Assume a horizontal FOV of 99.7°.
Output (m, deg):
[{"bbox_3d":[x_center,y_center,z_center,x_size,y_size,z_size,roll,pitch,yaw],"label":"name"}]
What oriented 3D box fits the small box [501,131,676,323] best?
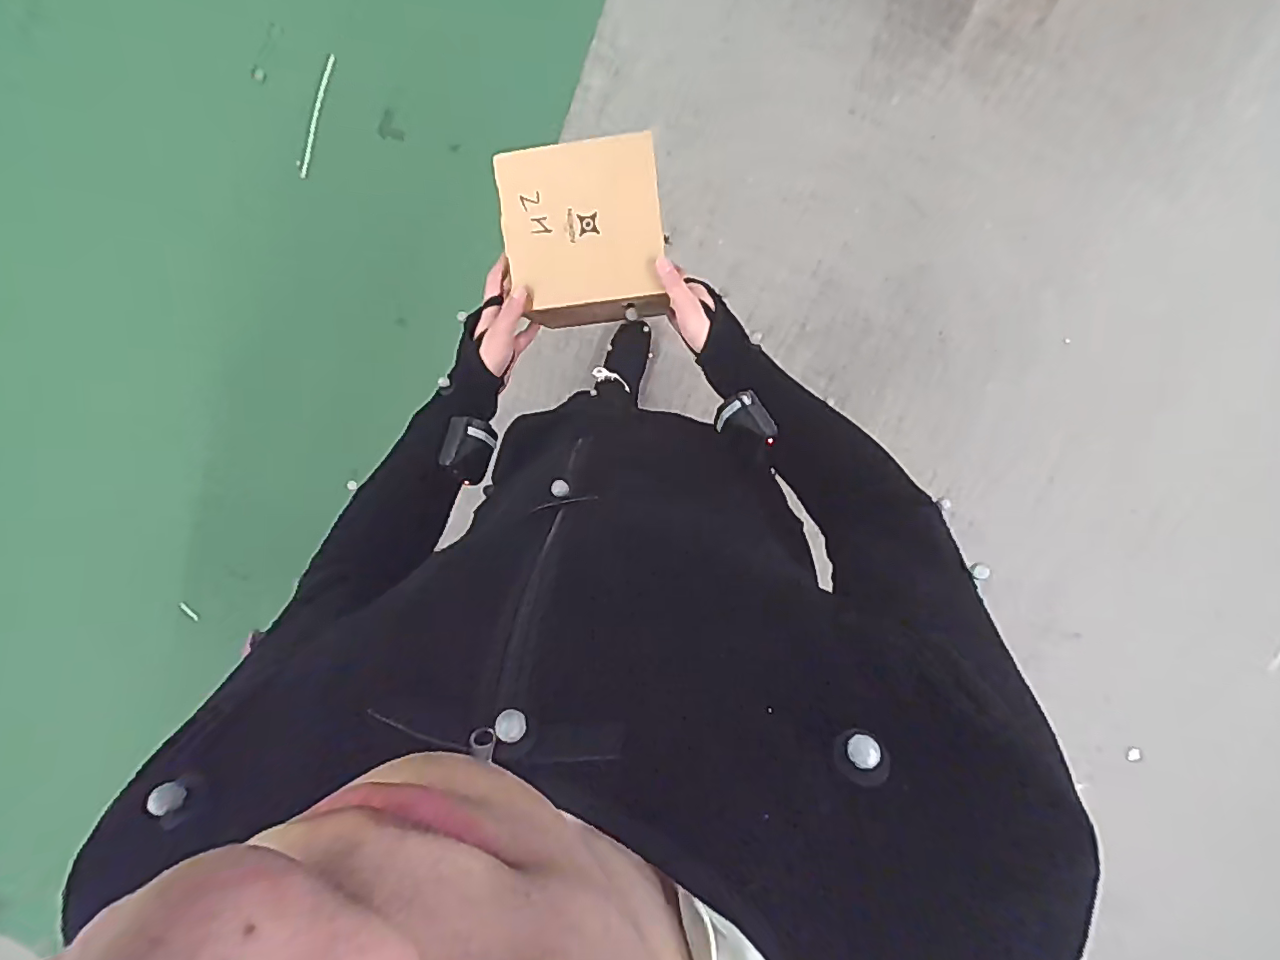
[{"bbox_3d":[-0.050,-0.289,0.655,0.179,0.176,0.168,-5,99,5],"label":"small box"}]
